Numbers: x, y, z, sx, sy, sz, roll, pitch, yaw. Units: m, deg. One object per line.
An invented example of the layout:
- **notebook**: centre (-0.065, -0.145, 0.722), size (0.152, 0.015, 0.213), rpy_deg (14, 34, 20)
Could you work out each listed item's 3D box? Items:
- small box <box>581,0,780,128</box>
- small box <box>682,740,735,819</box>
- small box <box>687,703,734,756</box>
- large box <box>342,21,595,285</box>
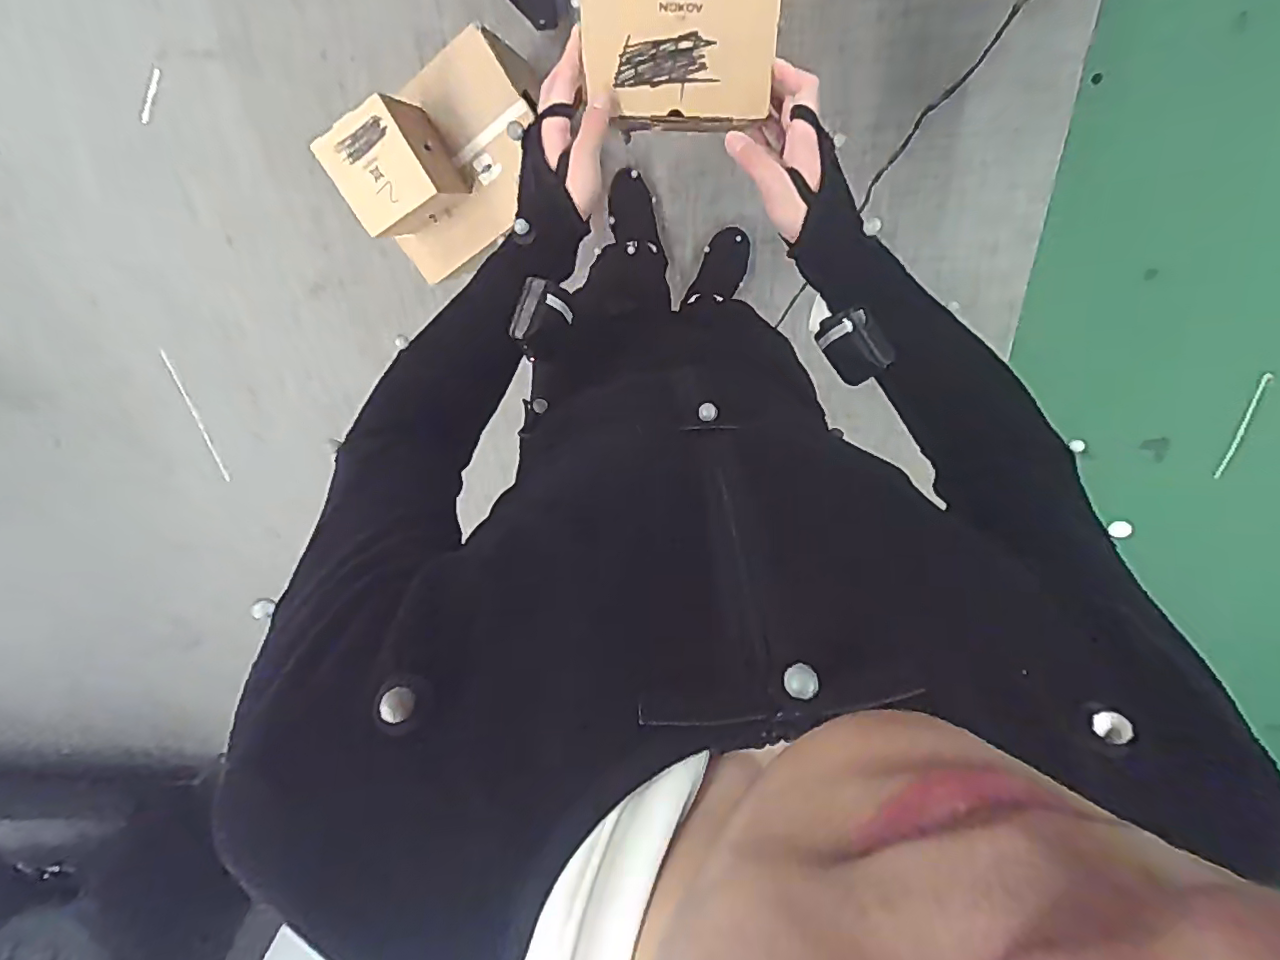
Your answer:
- **small box**: centre (0.036, -0.438, 0.504), size (0.168, 0.176, 0.179), rpy_deg (1, 119, 1)
- **small box**: centre (0.250, 1.076, 1.949), size (0.168, 0.176, 0.179), rpy_deg (8, 117, 5)
- **small box**: centre (0.274, 0.998, 2.090), size (0.168, 0.176, 0.179), rpy_deg (5, 117, 7)
- **large box**: centre (-0.368, -0.713, 1.248), size (0.408, 0.320, 0.320), rpy_deg (-28, 112, 18)
